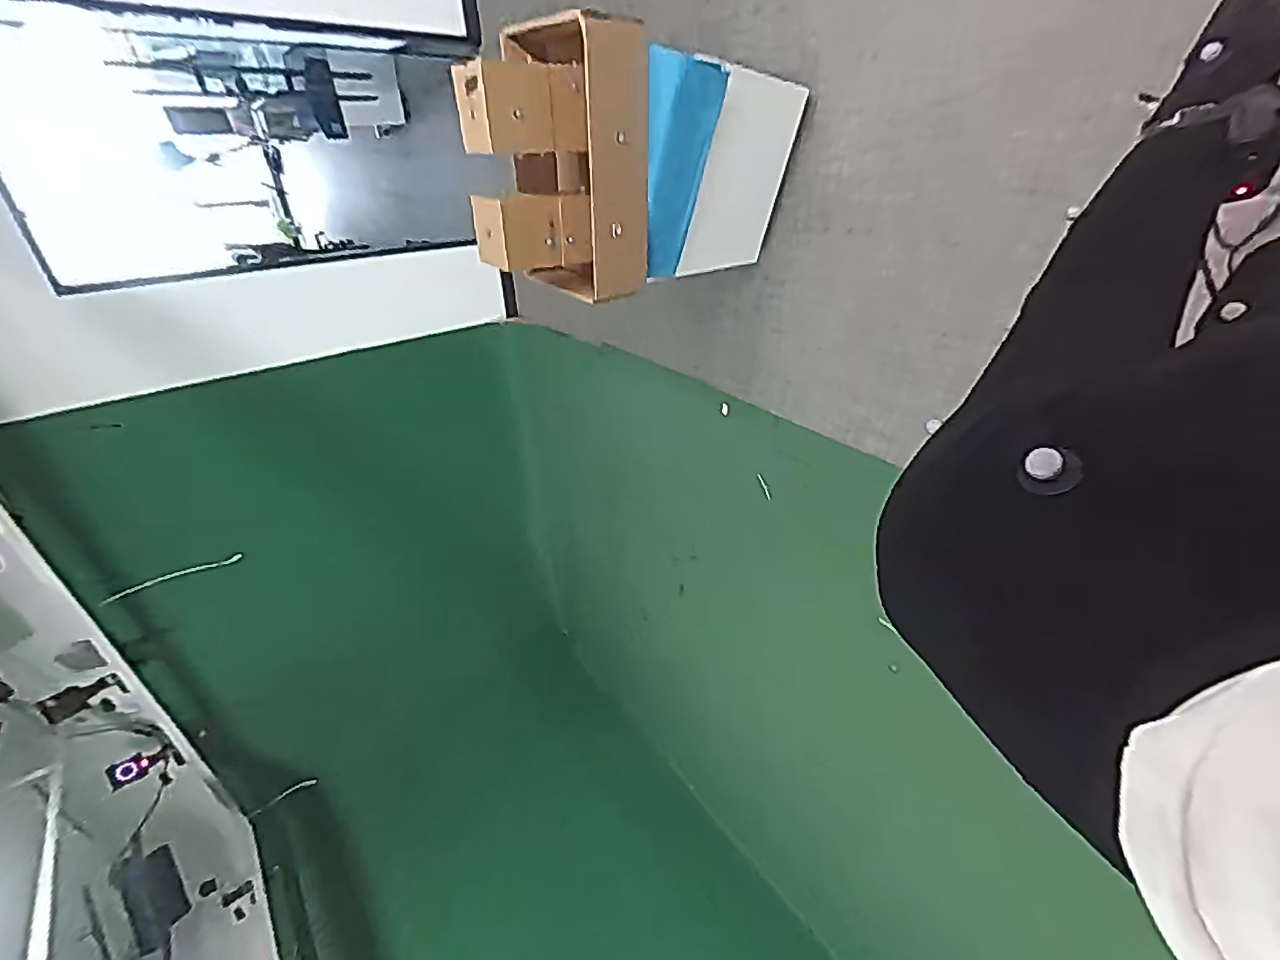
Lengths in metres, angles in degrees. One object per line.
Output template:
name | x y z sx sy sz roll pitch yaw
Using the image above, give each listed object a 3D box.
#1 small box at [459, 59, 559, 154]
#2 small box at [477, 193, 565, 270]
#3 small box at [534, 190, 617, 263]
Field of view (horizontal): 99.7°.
small box | -0.310 -0.890 1.298 0.168 0.176 0.179 36 137 42
small box | -0.316 -0.670 1.446 0.179 0.176 0.168 35 135 41
small box | -0.183 -0.719 1.527 0.179 0.176 0.168 36 136 42
